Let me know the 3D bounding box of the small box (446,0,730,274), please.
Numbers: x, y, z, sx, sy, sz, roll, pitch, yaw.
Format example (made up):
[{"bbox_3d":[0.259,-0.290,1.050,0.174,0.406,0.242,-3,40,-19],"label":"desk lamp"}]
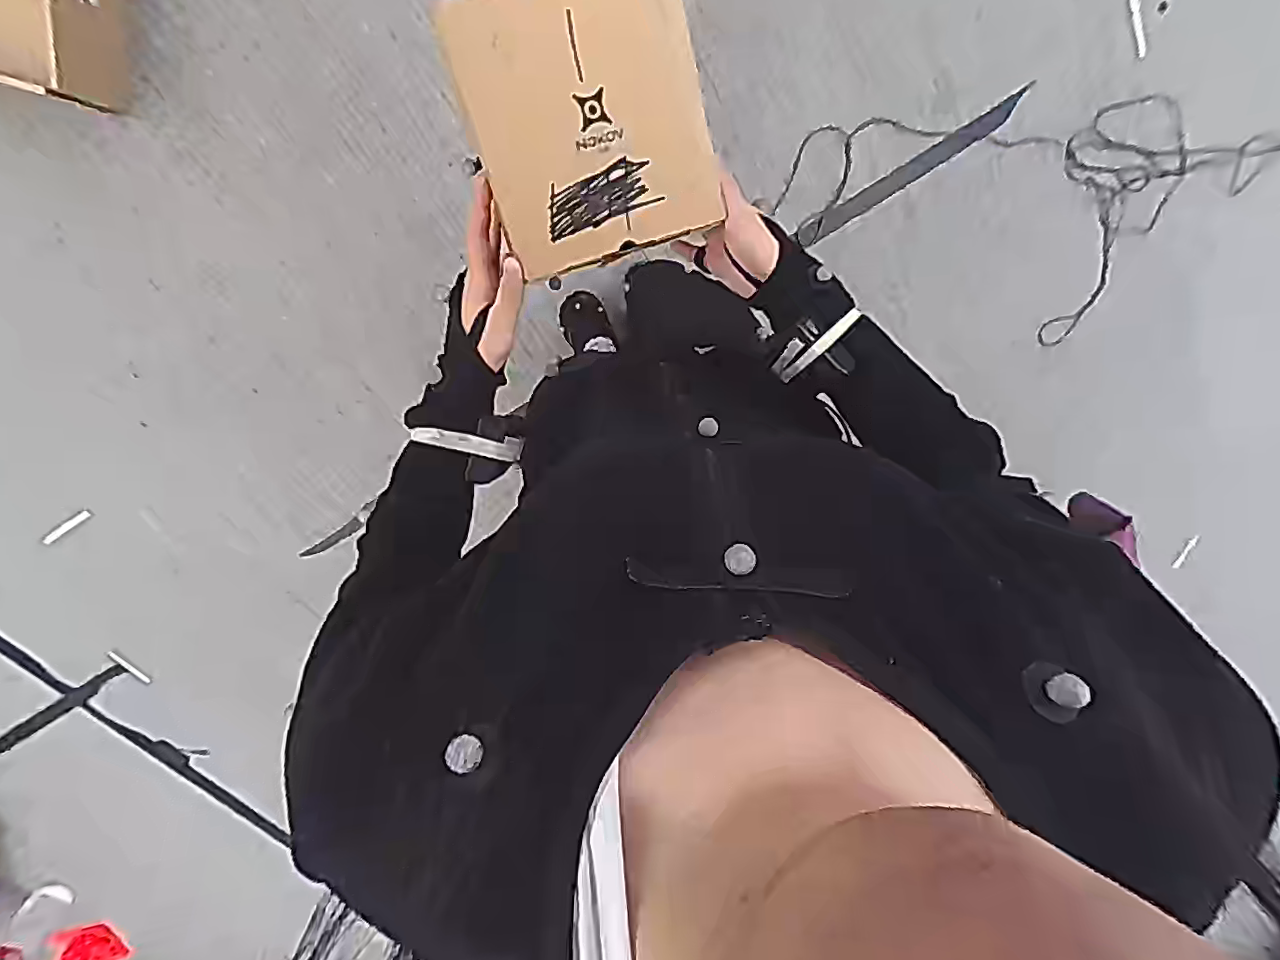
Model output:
[{"bbox_3d":[-0.044,-0.283,0.452,0.168,0.176,0.179,-19,112,-7],"label":"small box"}]
